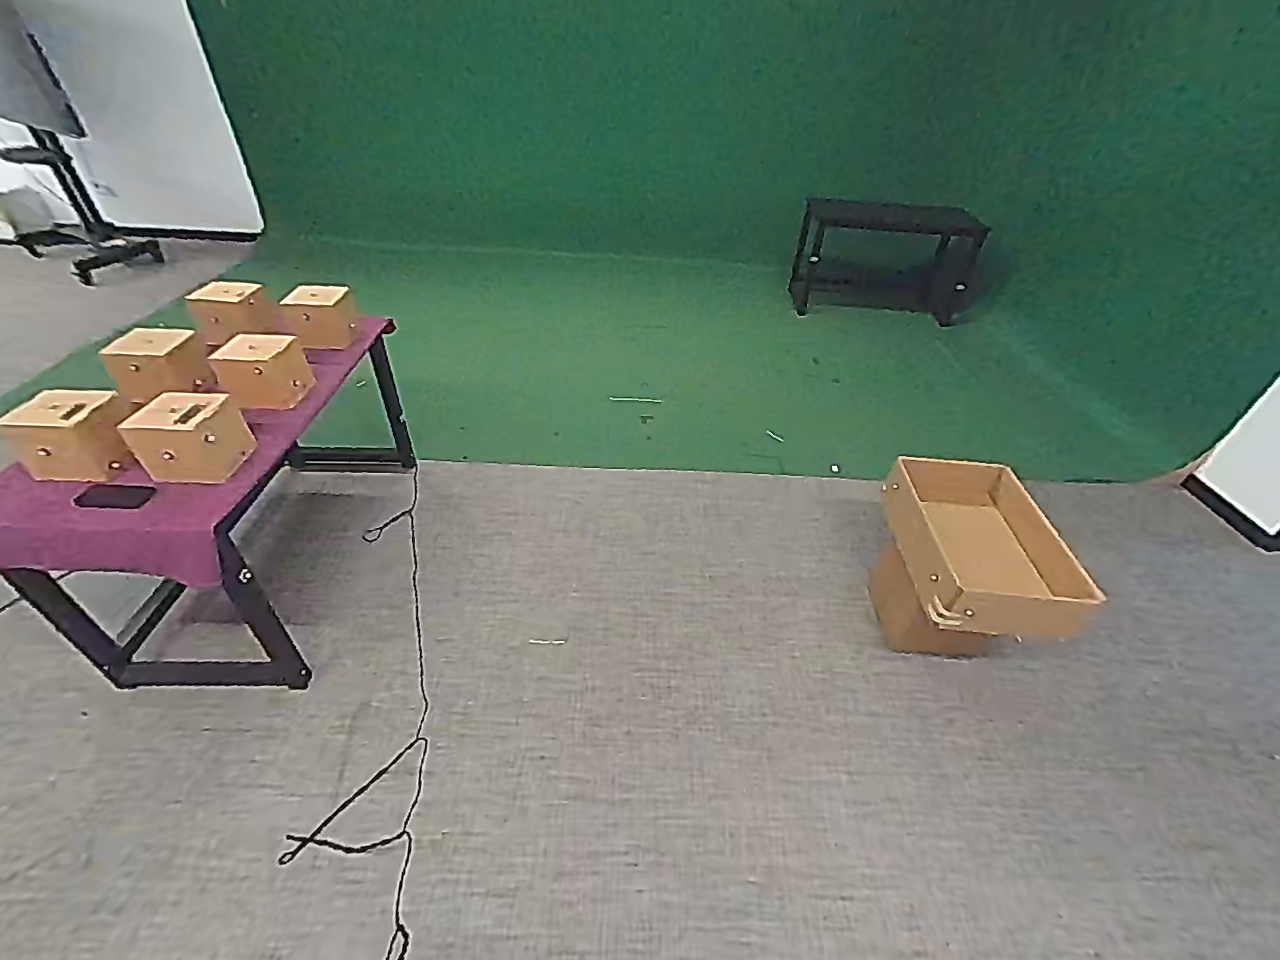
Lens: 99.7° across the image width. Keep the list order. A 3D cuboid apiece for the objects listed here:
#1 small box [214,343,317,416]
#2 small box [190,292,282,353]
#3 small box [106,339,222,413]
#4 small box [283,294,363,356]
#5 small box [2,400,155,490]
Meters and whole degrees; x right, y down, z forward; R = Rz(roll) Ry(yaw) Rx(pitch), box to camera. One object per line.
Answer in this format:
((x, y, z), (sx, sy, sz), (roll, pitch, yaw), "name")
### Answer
((-1.138, -0.307, 1.658), (0.179, 0.176, 0.168), (1, 39, -1), "small box")
((-1.451, -0.566, 1.955), (0.179, 0.176, 0.168), (2, 40, -1), "small box")
((-1.444, -0.318, 1.656), (0.179, 0.176, 0.168), (1, 40, -3), "small box")
((-1.141, -0.563, 1.962), (0.179, 0.176, 0.168), (1, 41, -3), "small box")
((-1.408, -0.087, 1.375), (0.179, 0.176, 0.168), (0, 39, -3), "small box")
